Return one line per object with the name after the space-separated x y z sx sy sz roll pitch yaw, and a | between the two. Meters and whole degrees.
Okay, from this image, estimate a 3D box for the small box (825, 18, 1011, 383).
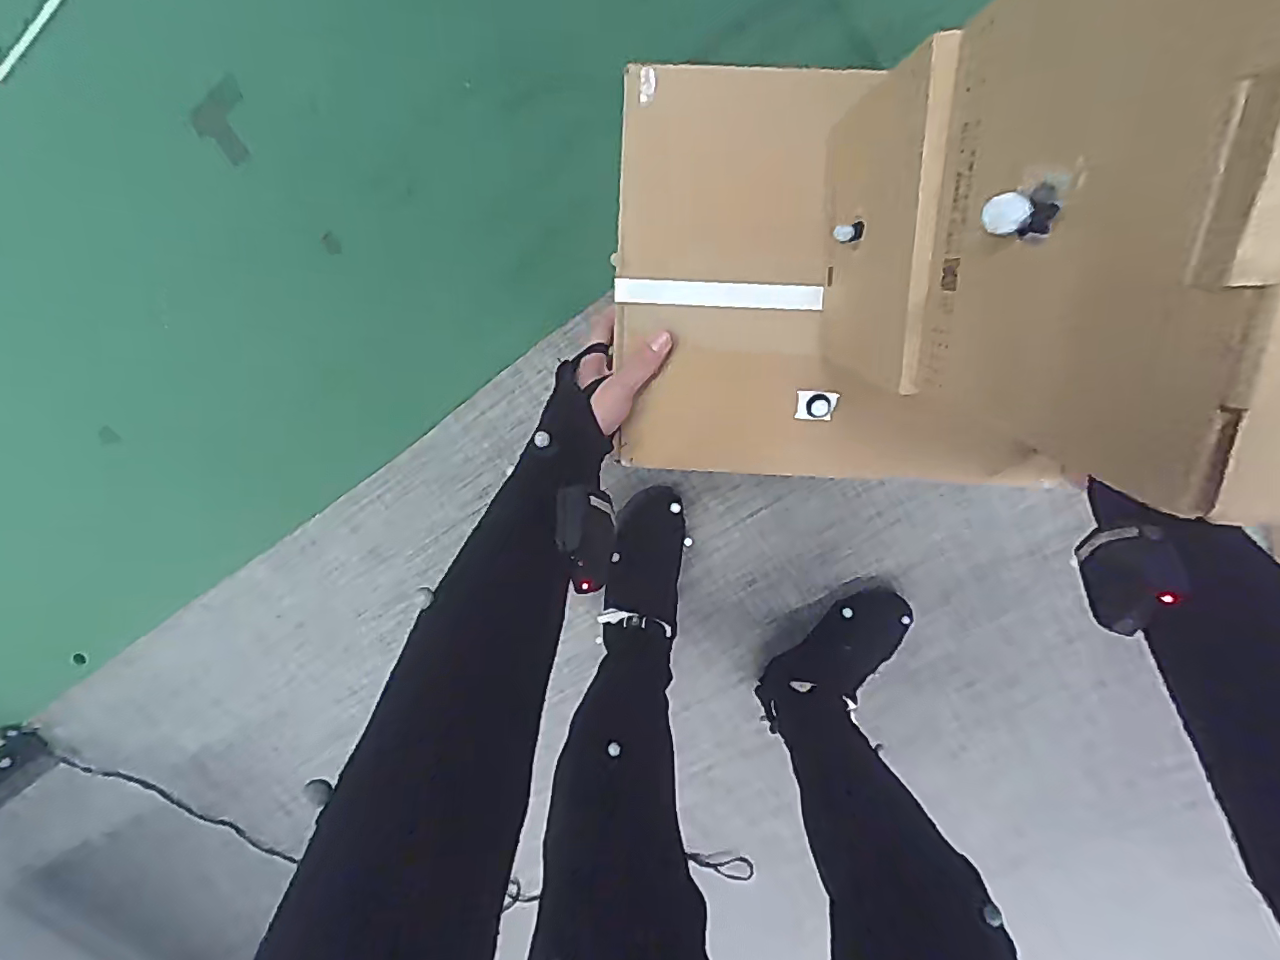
0.225 -0.159 0.340 0.179 0.176 0.168 -3 111 4 | small box

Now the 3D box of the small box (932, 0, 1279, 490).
0.229 -0.102 0.186 0.179 0.176 0.168 -2 111 5 | small box
